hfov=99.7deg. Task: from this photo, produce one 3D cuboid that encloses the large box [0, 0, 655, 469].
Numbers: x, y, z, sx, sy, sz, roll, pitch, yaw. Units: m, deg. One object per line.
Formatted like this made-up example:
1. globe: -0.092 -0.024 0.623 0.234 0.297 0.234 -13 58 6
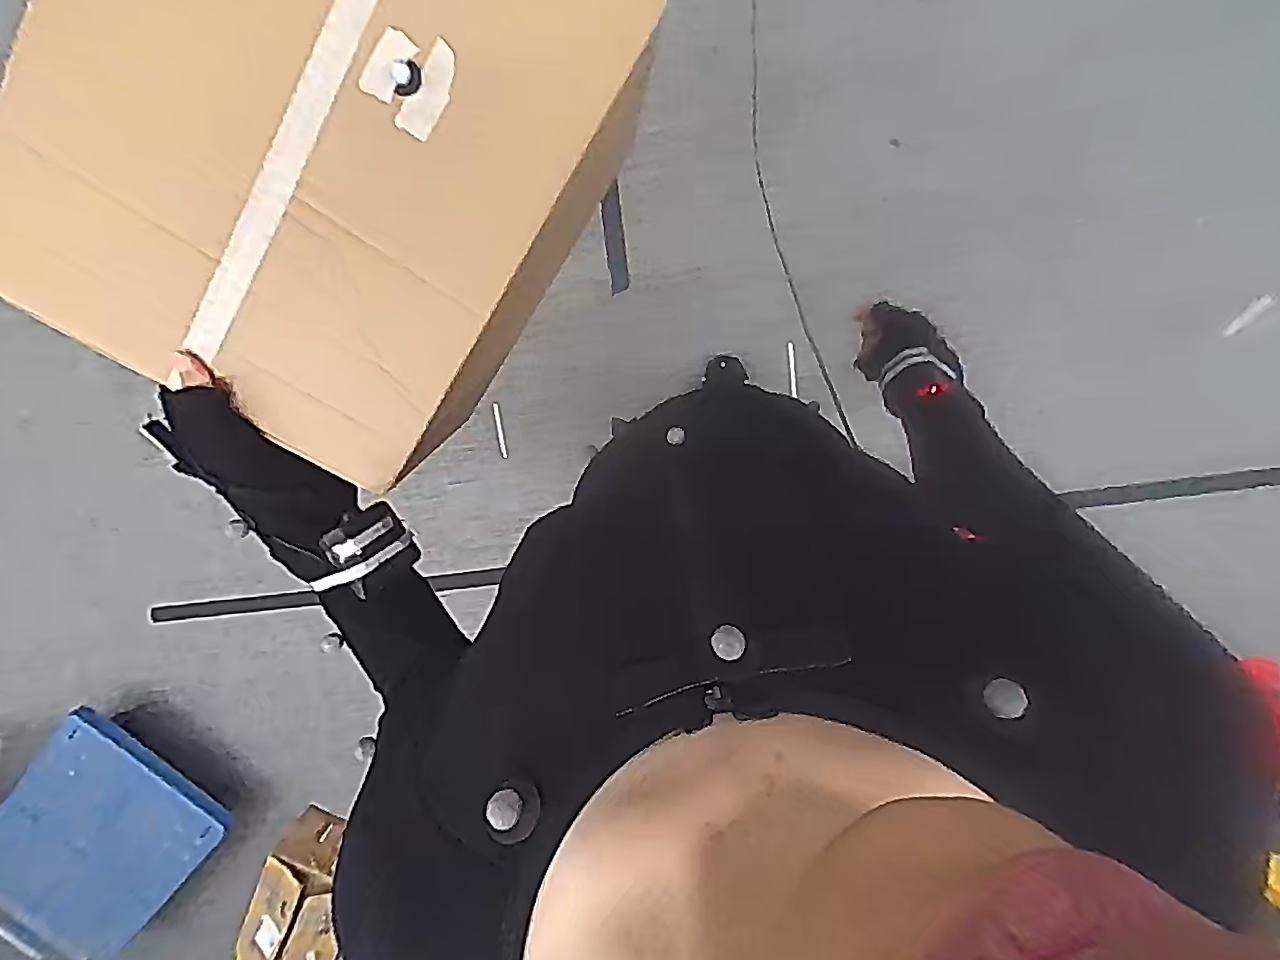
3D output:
1. large box: -0.230 -0.281 0.511 0.320 0.320 0.408 31 101 -13
